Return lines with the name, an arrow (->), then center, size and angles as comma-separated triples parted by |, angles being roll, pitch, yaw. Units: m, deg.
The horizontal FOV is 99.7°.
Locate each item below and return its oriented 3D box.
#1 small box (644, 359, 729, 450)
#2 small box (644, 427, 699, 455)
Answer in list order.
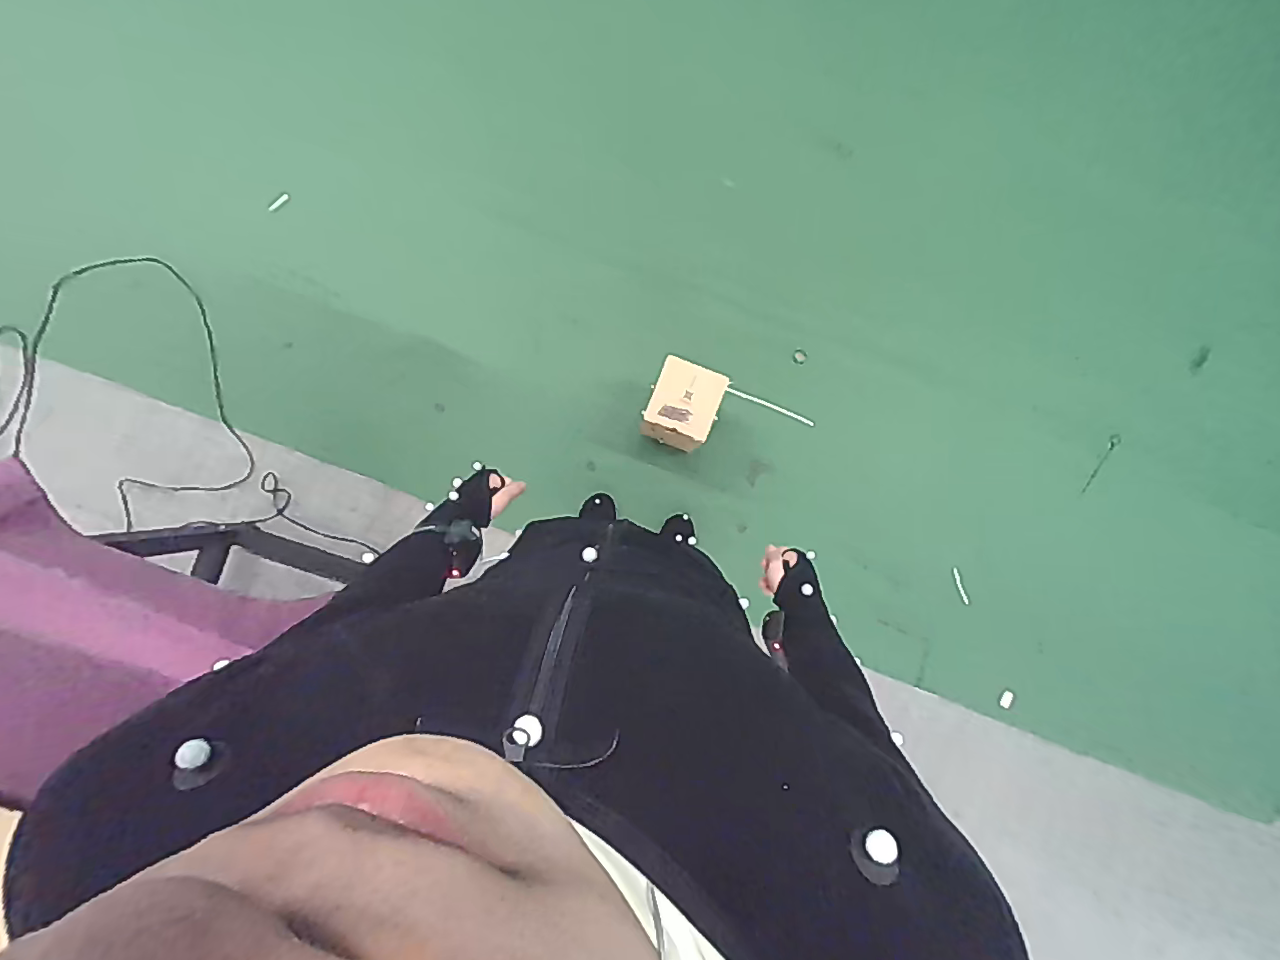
small box -> 0.116, -0.187, 1.411 | 0.168, 0.176, 0.179 | 21, 88, -1
small box -> 0.114, -0.183, 1.575 | 0.168, 0.176, 0.179 | 21, 89, 0
